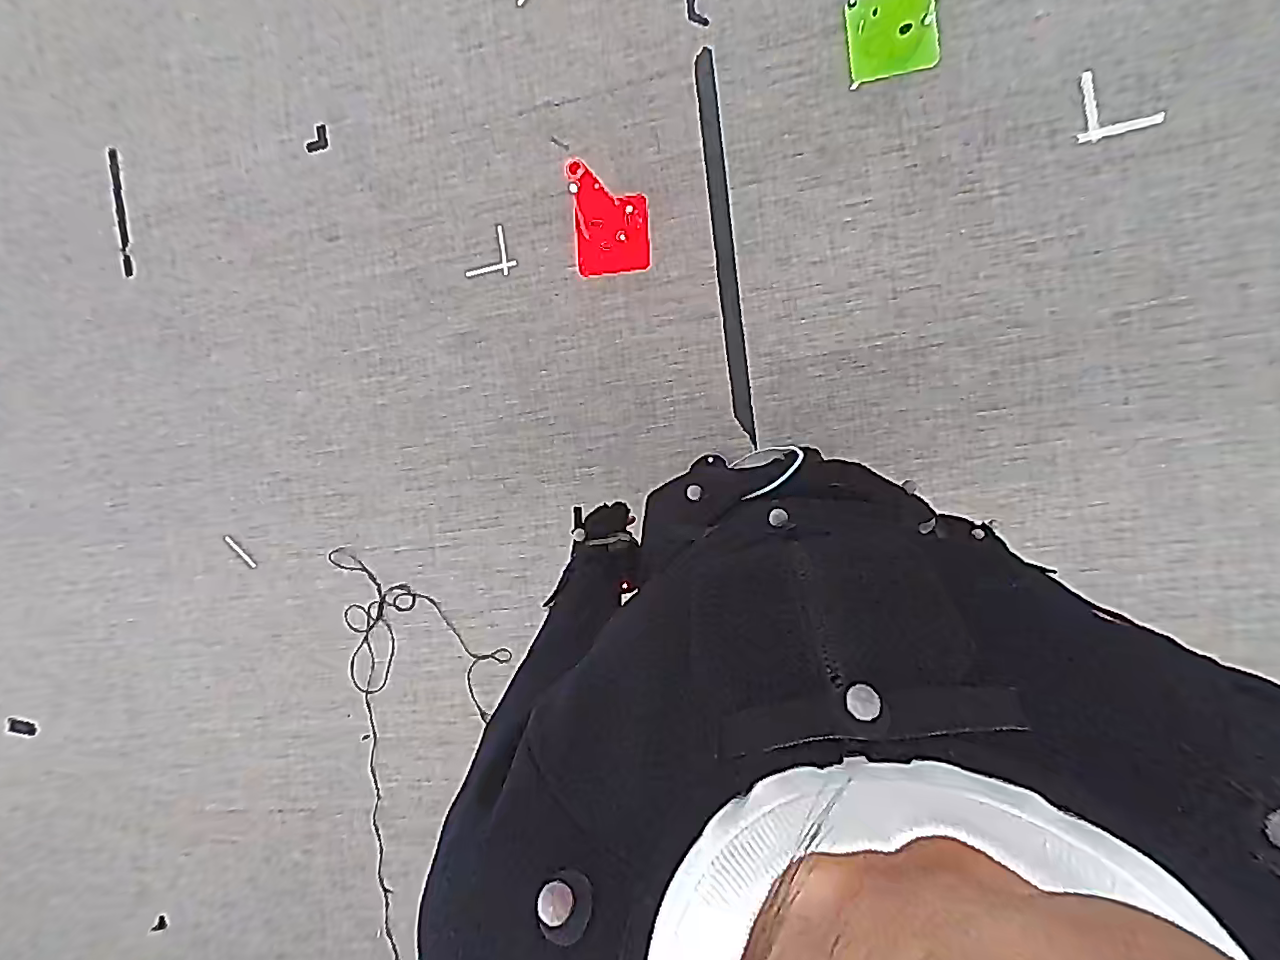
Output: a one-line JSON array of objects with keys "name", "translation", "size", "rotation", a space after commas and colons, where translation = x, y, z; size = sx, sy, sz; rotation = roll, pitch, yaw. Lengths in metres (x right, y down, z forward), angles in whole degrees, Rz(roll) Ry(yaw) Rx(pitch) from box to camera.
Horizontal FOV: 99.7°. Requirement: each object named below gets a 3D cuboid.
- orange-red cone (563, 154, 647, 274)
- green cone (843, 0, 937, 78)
[{"name": "orange-red cone", "translation": [-0.111, -0.647, 1.268], "size": [0.199, 0.360, 0.198], "rotation": [-2, 91, 11]}, {"name": "green cone", "translation": [0.572, -1.067, 1.124], "size": [0.202, 0.368, 0.200], "rotation": [-7, 92, 9]}]
